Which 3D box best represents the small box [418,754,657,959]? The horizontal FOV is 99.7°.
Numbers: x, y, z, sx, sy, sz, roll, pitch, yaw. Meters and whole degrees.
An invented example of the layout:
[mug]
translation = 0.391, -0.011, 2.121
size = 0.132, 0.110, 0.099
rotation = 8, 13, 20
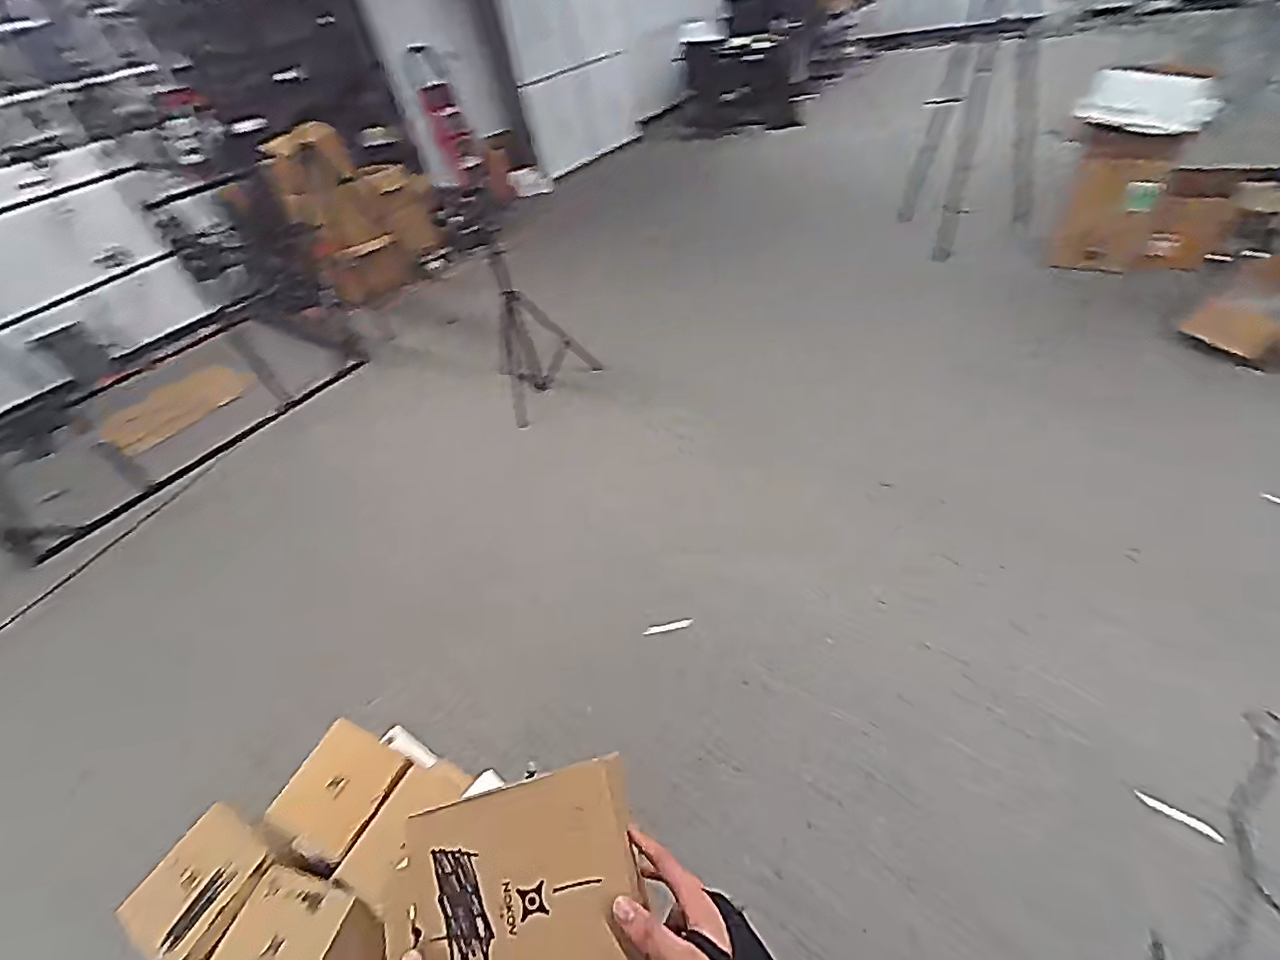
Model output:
[small box]
translation = -0.086, 0.370, 0.510
size = 0.179, 0.176, 0.168
rotation = -14, 66, -5
